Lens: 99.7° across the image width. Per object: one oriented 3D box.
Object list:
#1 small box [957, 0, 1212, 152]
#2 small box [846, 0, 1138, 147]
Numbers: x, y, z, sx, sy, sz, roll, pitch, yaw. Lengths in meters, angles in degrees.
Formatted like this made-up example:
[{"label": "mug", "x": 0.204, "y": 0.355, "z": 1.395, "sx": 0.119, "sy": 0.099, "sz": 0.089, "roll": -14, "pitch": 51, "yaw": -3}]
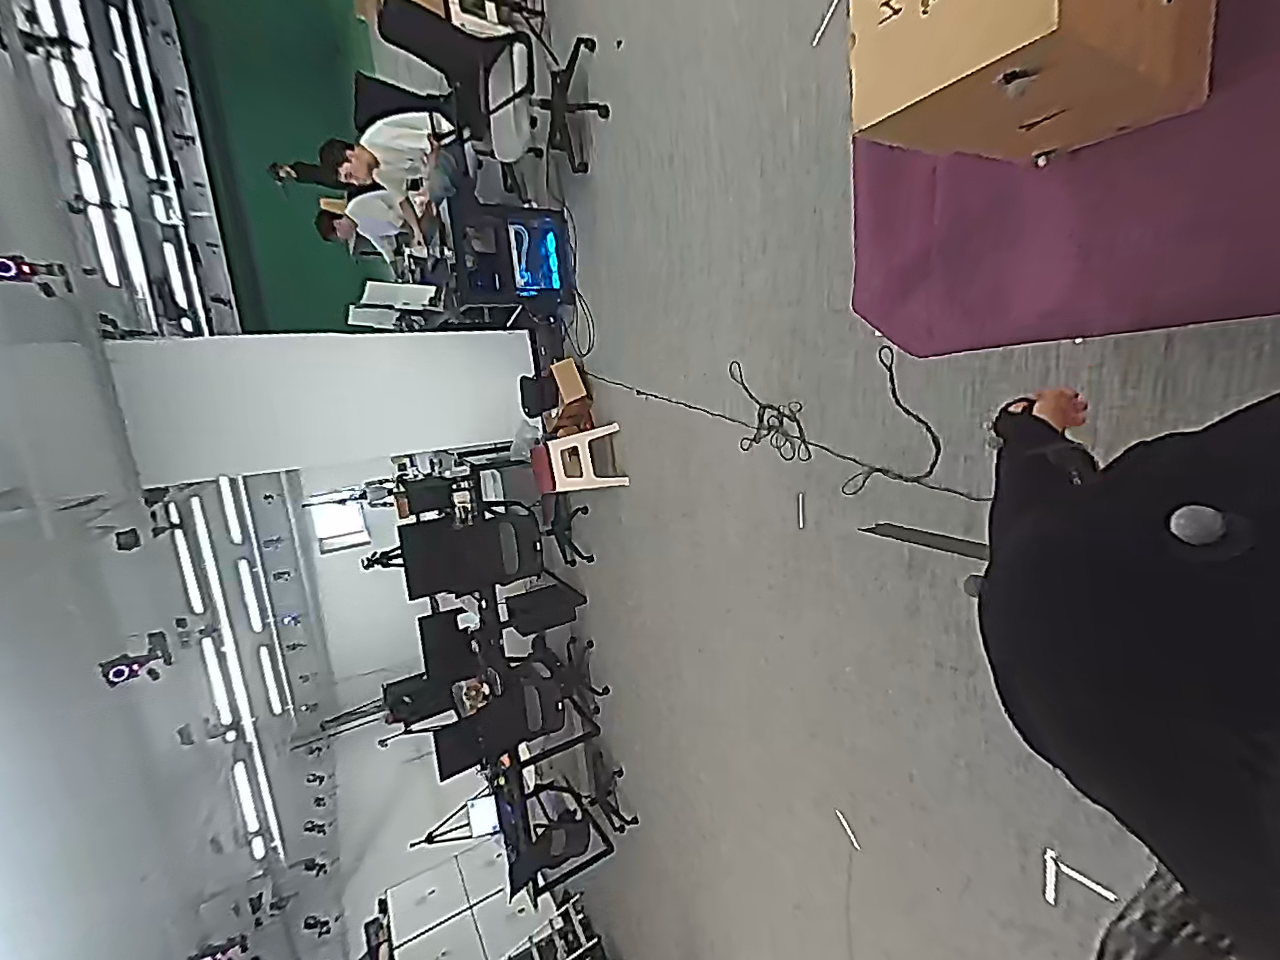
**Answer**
[{"label": "small box", "x": 0.452, "y": -0.462, "z": 0.557, "sx": 0.168, "sy": 0.176, "sz": 0.179, "roll": 13, "pitch": 111, "yaw": 58}, {"label": "small box", "x": 0.310, "y": -0.424, "z": 0.480, "sx": 0.179, "sy": 0.176, "sz": 0.168, "roll": 12, "pitch": 110, "yaw": 58}]
